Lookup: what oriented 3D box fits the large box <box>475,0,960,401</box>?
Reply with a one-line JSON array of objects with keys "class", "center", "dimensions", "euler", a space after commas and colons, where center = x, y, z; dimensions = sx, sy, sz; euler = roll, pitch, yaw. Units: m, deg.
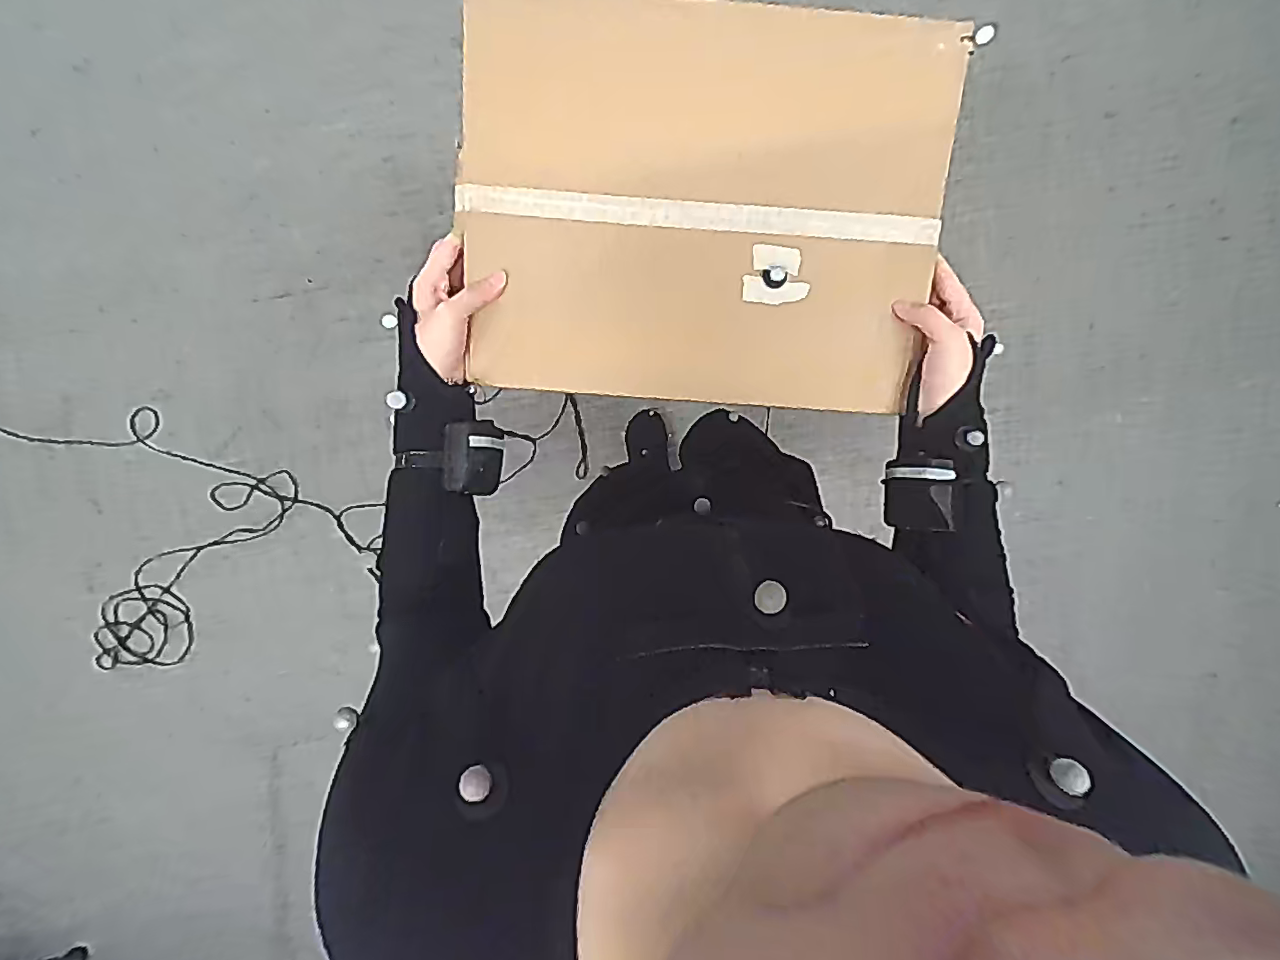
[{"class": "large box", "center": [0.052, -0.263, 0.612], "dimensions": [0.408, 0.320, 0.320], "euler": [4, 103, -3]}]
